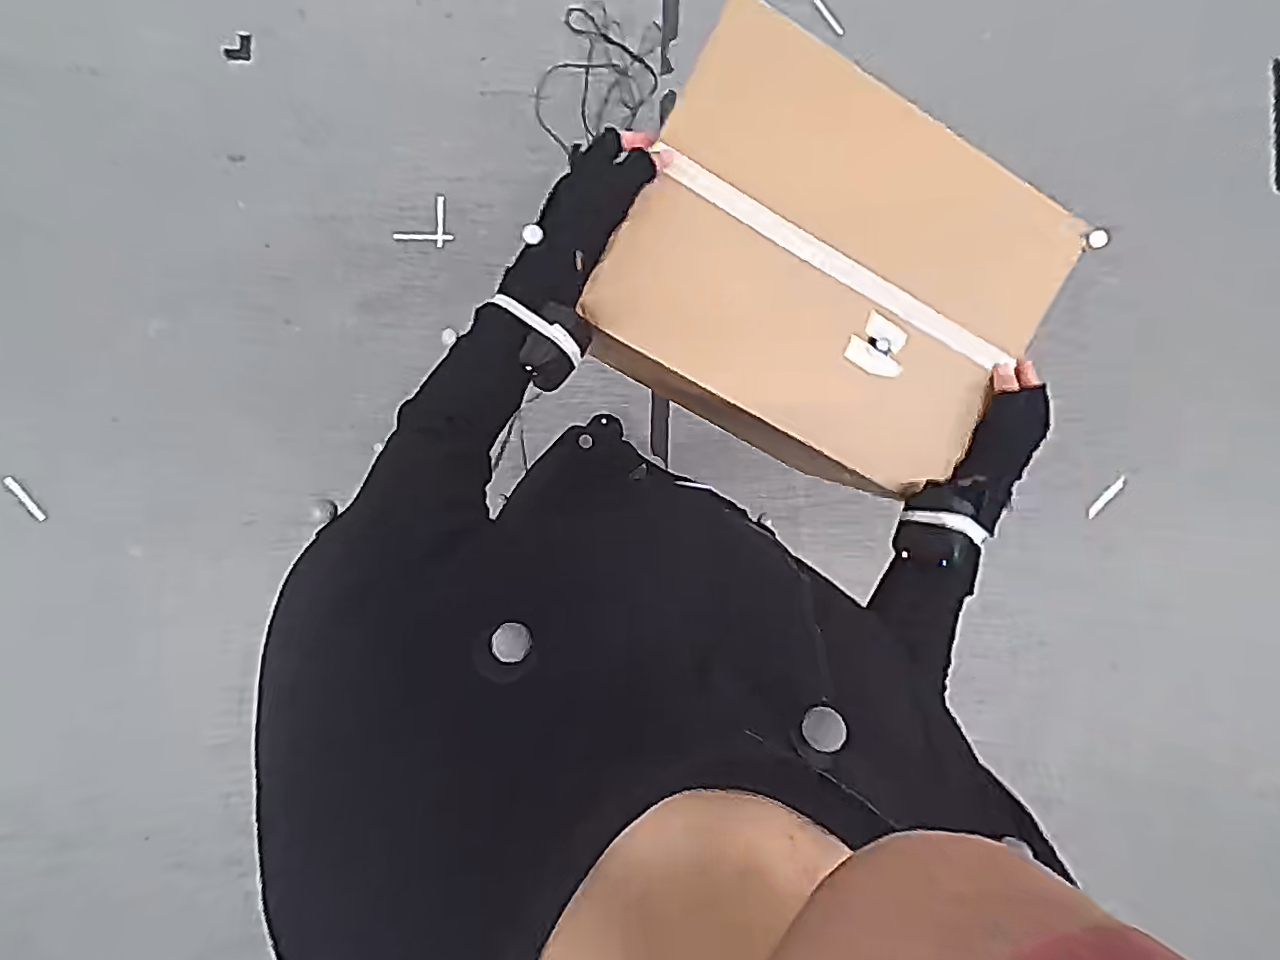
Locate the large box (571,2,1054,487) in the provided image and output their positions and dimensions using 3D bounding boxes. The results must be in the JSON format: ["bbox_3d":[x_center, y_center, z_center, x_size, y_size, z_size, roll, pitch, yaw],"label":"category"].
[{"bbox_3d":[0.156,-0.228,0.665,0.408,0.320,0.320,26,95,-10],"label":"large box"}]
